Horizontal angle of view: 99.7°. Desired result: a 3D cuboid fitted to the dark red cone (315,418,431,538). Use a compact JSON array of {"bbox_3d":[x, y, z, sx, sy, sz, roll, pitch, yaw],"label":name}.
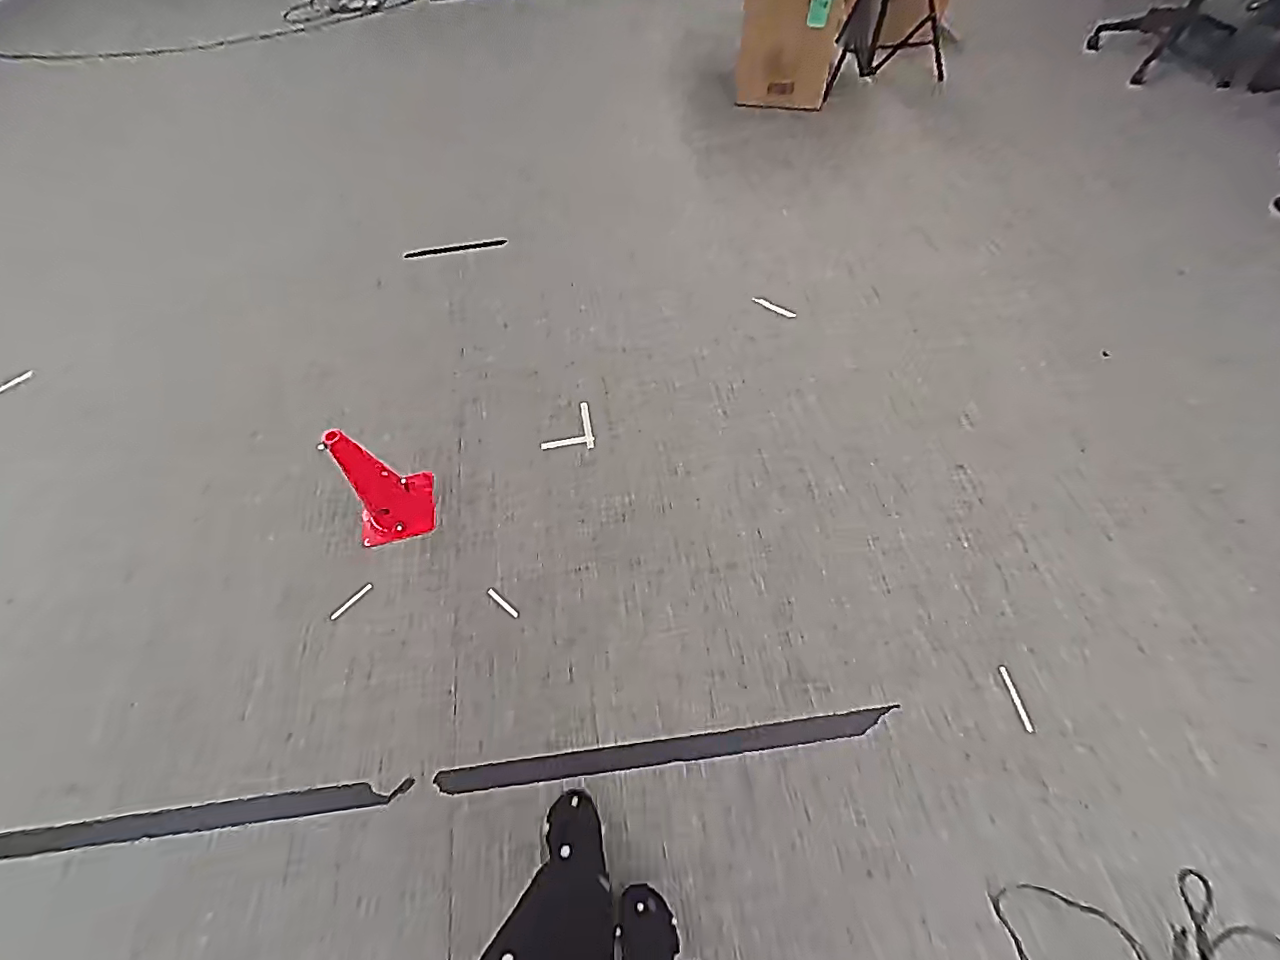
[{"bbox_3d":[-0.688,-0.025,1.349,0.202,0.394,0.201,-14,61,-6],"label":"dark red cone"}]
